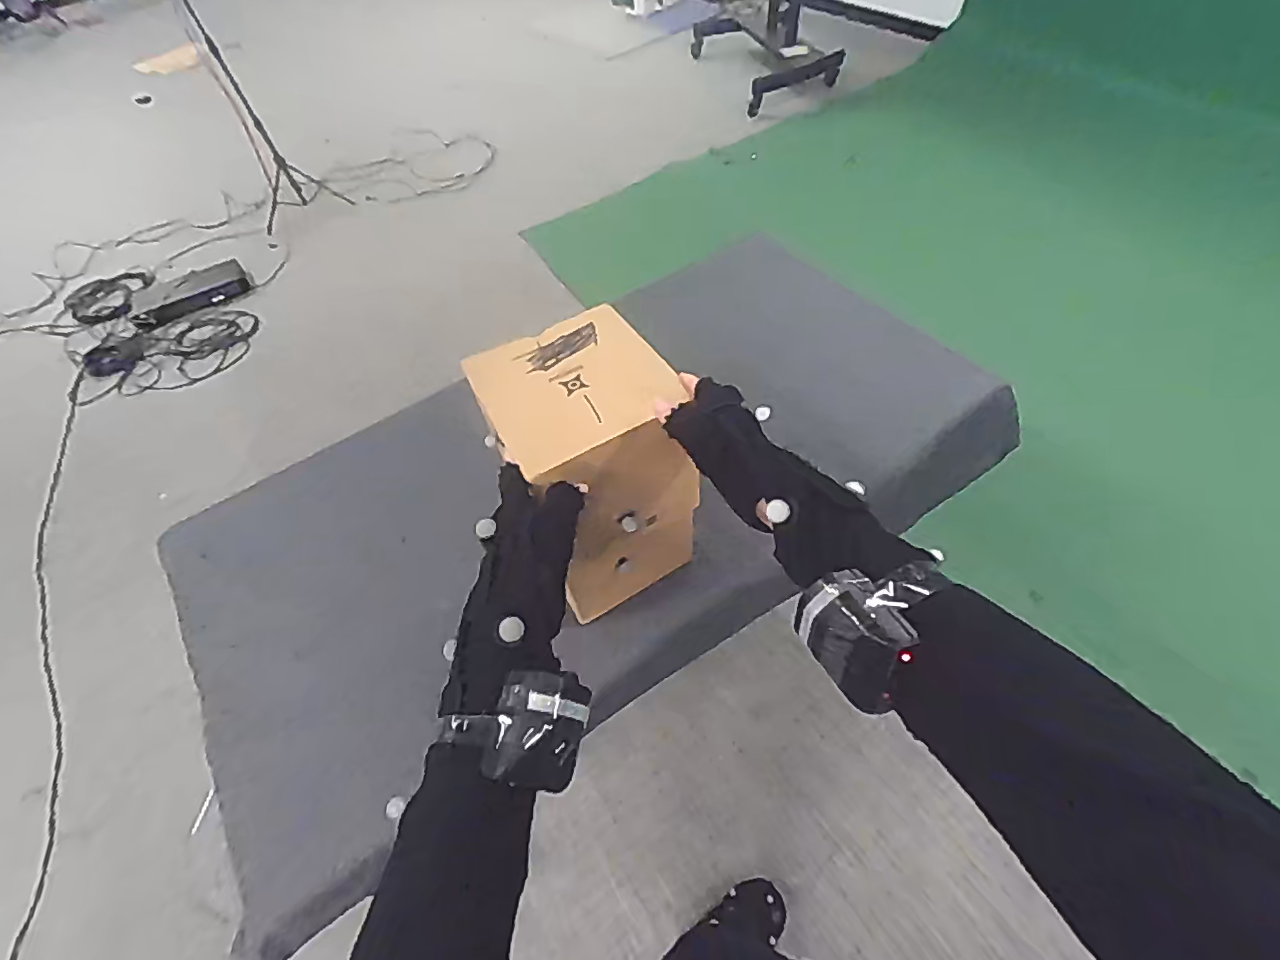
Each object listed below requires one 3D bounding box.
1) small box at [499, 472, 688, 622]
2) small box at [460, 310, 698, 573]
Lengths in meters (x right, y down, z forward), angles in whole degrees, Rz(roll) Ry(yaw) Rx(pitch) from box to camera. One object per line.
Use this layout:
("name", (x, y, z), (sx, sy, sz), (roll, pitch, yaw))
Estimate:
("small box", (-0.050, 0.054, 0.701), (0.179, 0.176, 0.168), (-30, 57, -14))
("small box", (-0.056, -0.039, 0.558), (0.168, 0.176, 0.179), (-30, 52, -15))
